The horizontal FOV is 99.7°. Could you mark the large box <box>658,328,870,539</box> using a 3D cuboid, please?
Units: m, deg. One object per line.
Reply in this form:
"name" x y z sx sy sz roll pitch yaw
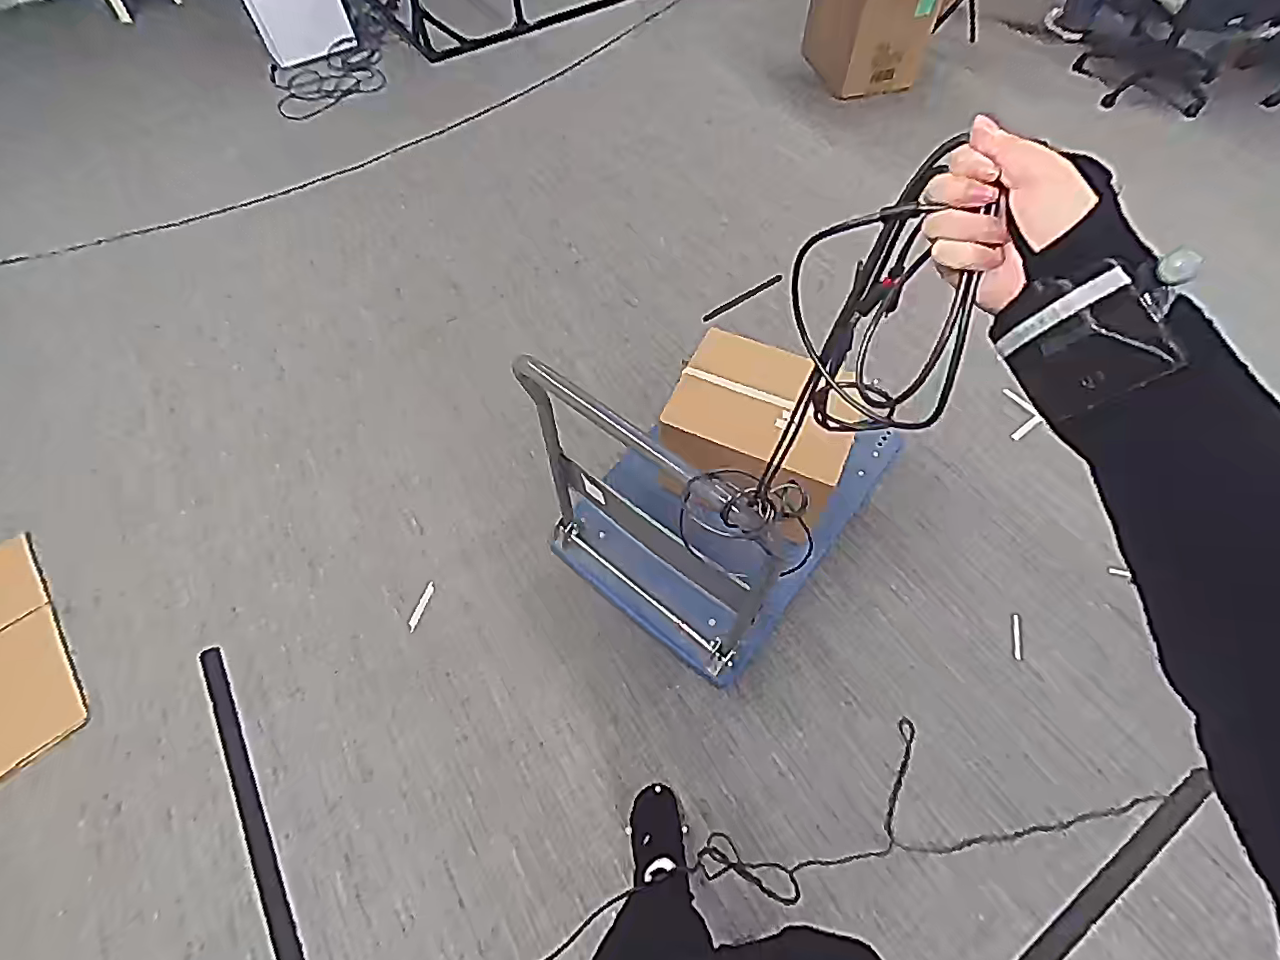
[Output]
"large box" 0.284 -0.109 1.337 0.408 0.320 0.320 22 65 13
